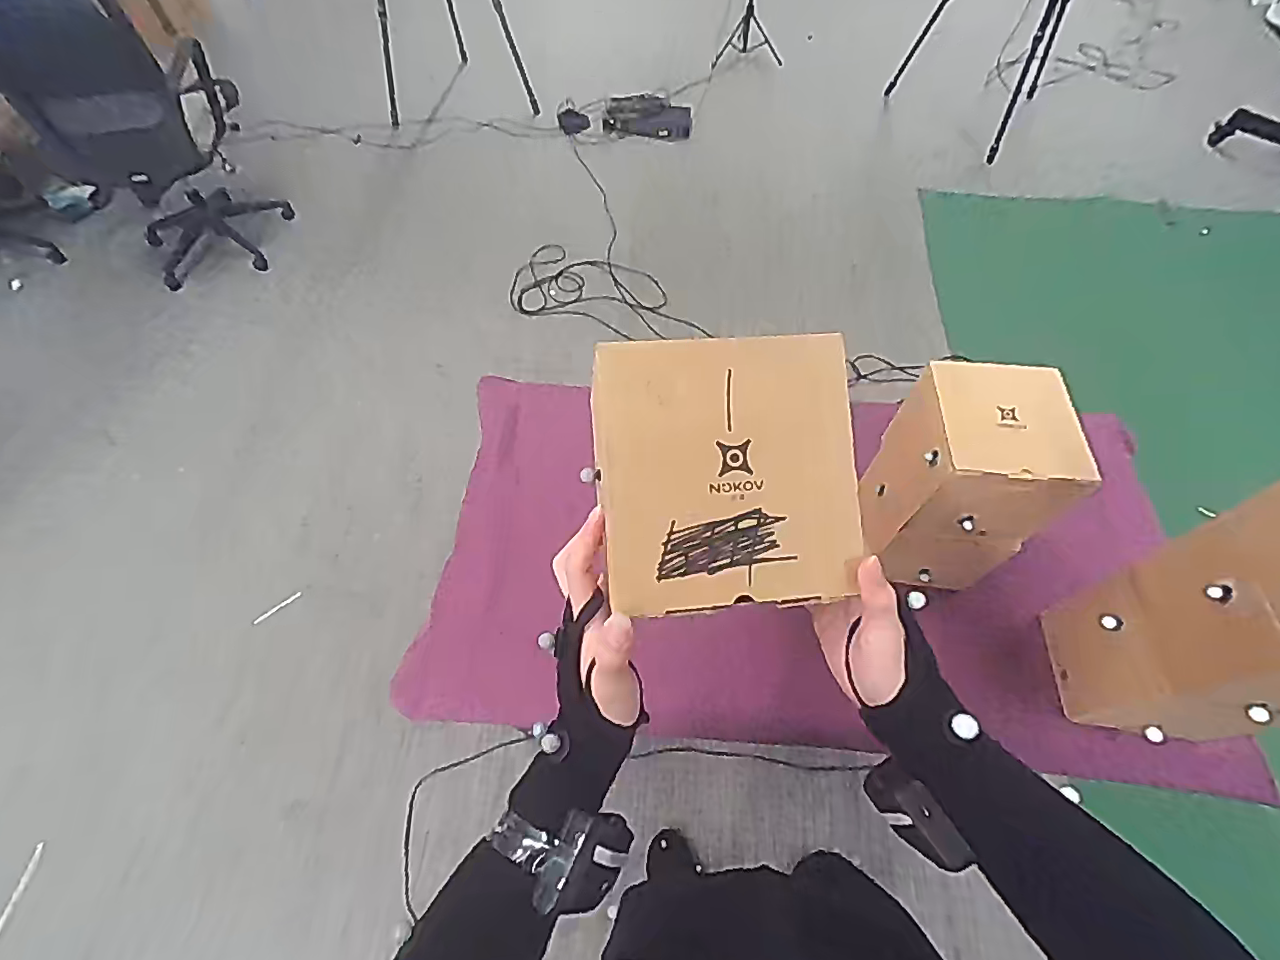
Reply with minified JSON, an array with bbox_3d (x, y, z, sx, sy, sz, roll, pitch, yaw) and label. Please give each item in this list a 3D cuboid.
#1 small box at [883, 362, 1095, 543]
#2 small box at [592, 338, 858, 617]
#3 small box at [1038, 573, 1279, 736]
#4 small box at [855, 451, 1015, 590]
[{"bbox_3d":[0.447,-0.033,0.731,0.168,0.176,0.179,5,60,3],"label":"small box"},{"bbox_3d":[0.049,0.000,0.428,0.168,0.176,0.179,-4,86,-7],"label":"small box"},{"bbox_3d":[0.705,0.247,0.747,0.179,0.176,0.168,7,58,5],"label":"small box"},{"bbox_3d":[0.454,0.056,0.867,0.168,0.176,0.179,8,59,5],"label":"small box"}]
